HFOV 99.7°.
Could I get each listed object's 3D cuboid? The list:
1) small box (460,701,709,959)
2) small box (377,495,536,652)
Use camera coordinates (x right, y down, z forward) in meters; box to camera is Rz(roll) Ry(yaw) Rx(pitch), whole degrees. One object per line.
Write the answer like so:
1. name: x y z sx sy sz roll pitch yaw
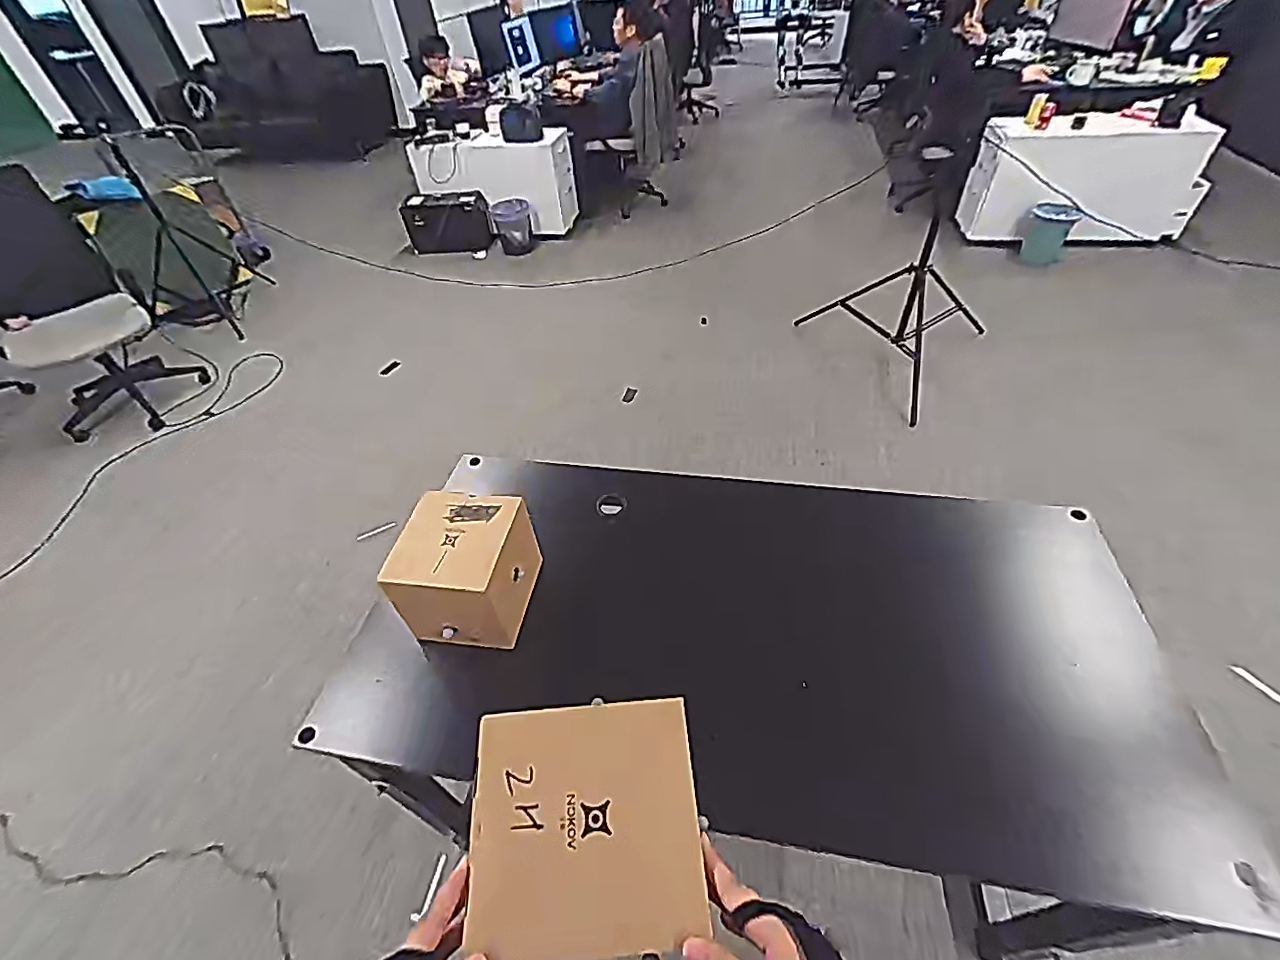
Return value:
1. small box: -0.044 0.309 0.485 0.179 0.176 0.168 -5 54 -2
2. small box: -0.273 0.147 0.857 0.168 0.176 0.179 4 47 8
